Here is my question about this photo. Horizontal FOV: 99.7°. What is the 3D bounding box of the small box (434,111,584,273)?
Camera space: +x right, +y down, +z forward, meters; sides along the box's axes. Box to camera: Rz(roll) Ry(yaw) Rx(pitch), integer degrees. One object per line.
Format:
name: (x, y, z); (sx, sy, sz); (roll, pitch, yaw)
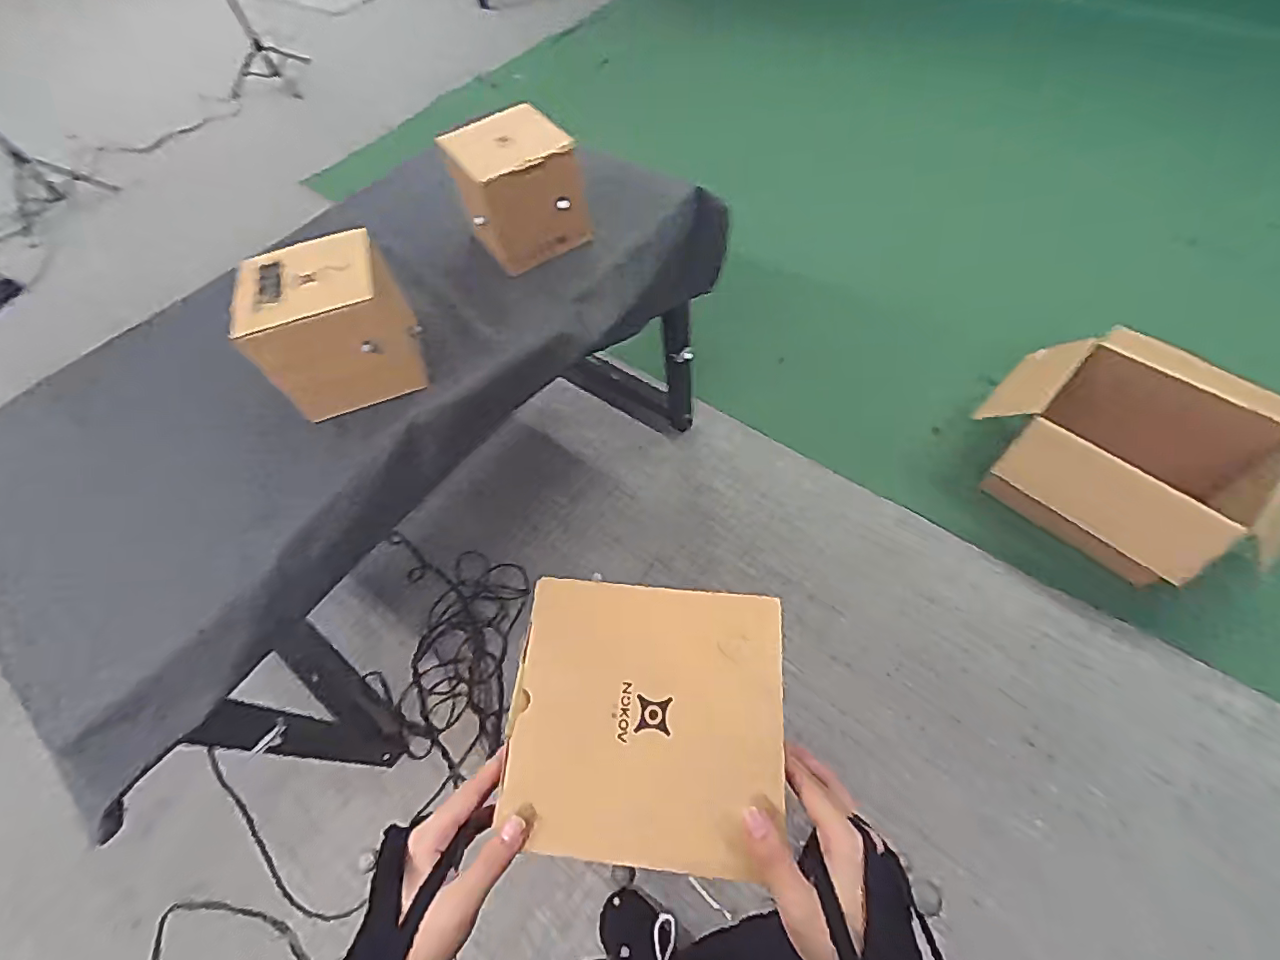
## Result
small box: (-0.213, -0.481, 0.919); (0.168, 0.176, 0.179); (-31, 59, -14)
